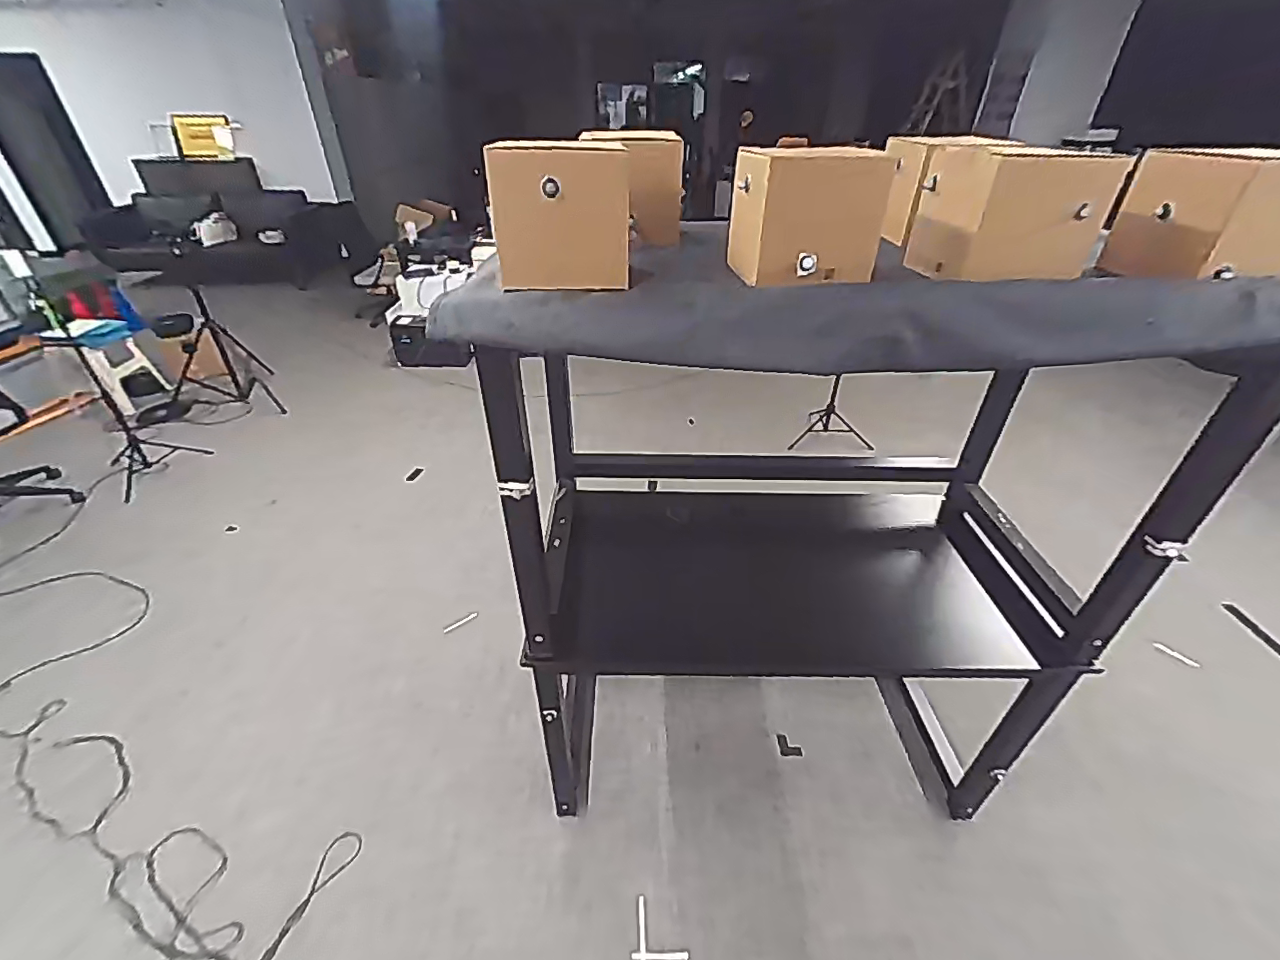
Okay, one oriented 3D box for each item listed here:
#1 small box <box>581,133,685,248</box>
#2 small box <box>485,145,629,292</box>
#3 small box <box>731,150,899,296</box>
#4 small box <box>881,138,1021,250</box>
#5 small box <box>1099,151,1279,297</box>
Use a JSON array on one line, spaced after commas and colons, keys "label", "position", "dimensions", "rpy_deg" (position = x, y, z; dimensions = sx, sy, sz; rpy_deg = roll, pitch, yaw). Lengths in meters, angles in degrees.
[{"label": "small box", "position": [-0.017, -0.535, 1.002], "dimensions": [0.179, 0.176, 0.168], "rpy_deg": [0, 35, -3]}, {"label": "small box", "position": [-0.106, -0.366, 0.756], "dimensions": [0.179, 0.176, 0.168], "rpy_deg": [-2, 34, -5]}, {"label": "small box", "position": [0.231, -0.369, 0.771], "dimensions": [0.168, 0.176, 0.179], "rpy_deg": [-3, 34, -3]}, {"label": "small box", "position": [0.560, -0.538, 1.018], "dimensions": [0.168, 0.176, 0.179], "rpy_deg": [-1, 35, -1]}, {"label": "small box", "position": [0.828, -0.366, 0.773], "dimensions": [0.168, 0.176, 0.179], "rpy_deg": [-2, 34, -2]}]
